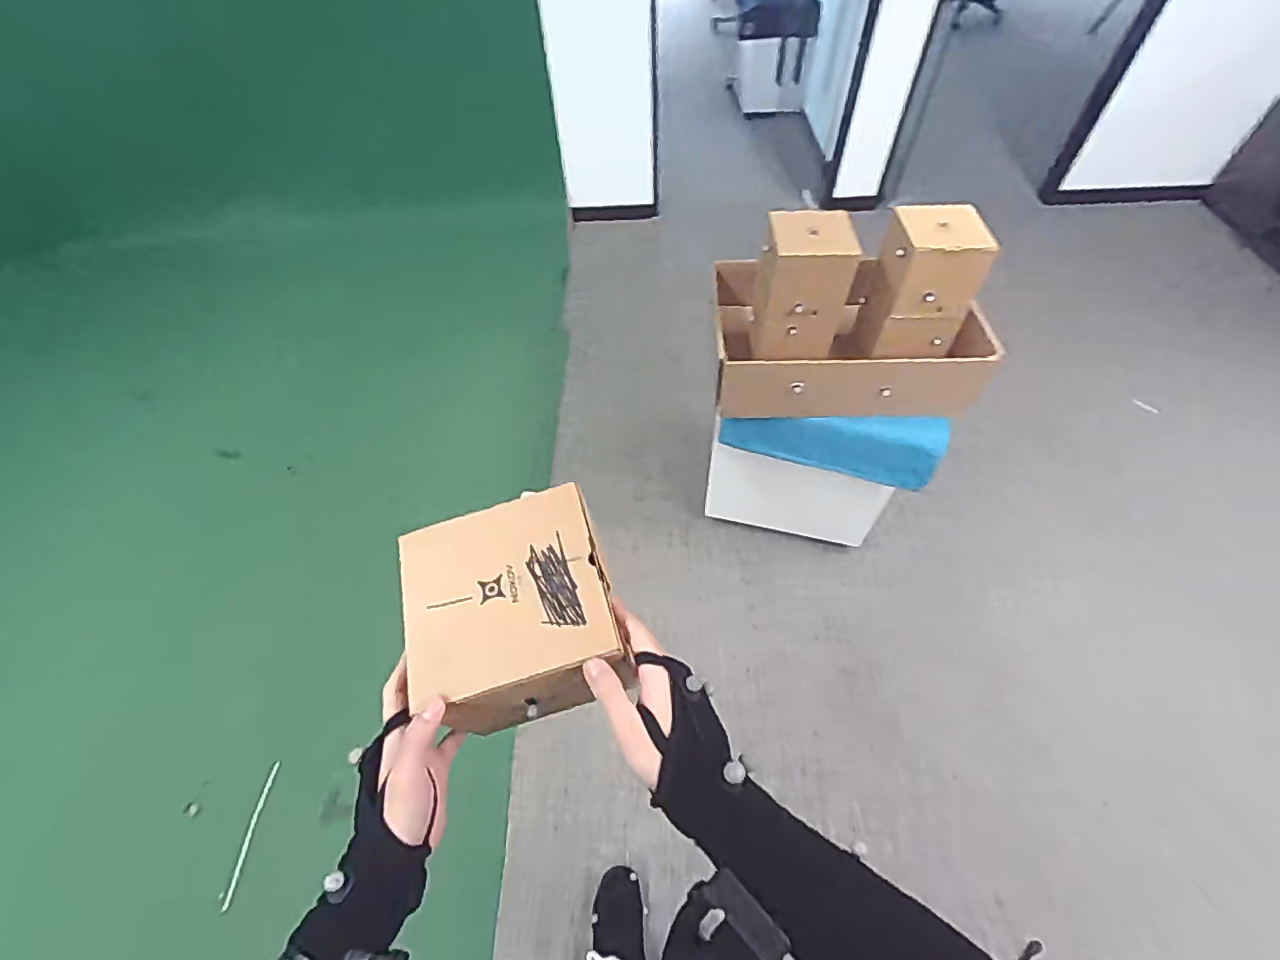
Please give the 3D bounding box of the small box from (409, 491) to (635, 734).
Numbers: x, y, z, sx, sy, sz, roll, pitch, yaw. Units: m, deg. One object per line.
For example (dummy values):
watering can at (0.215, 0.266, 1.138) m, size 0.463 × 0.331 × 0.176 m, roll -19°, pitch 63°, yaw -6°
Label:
small box at (-0.107, 0.139, 0.541) m, size 0.179 × 0.176 × 0.168 m, roll -16°, pitch 58°, yaw -3°

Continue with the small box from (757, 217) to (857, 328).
small box at (0.360, -0.460, 1.201) m, size 0.168 × 0.176 × 0.179 m, roll 0°, pitch 53°, yaw 2°

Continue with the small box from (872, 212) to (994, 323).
small box at (0.632, -0.469, 1.195) m, size 0.168 × 0.176 × 0.179 m, roll 0°, pitch 53°, yaw 3°
